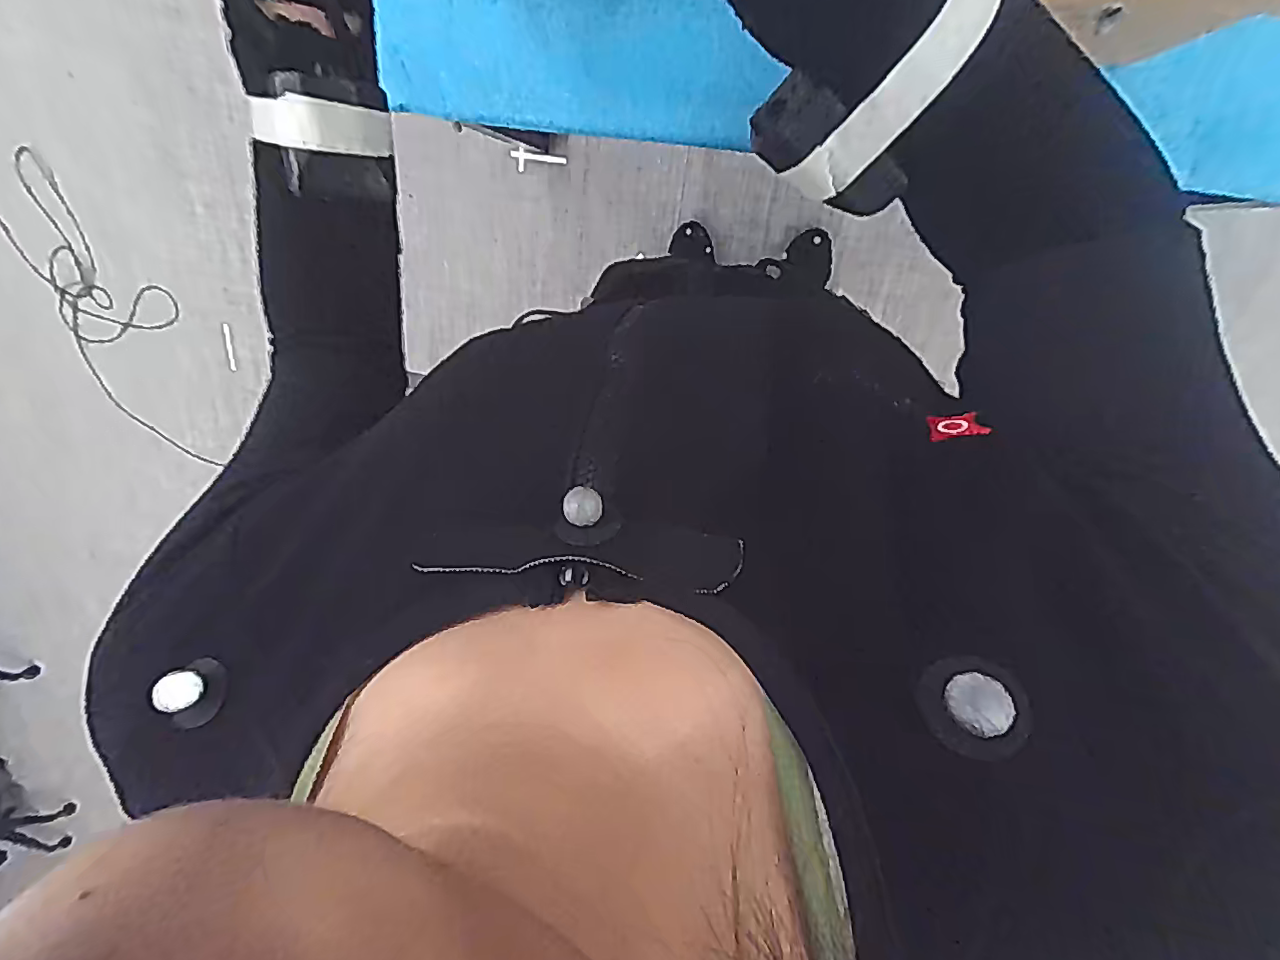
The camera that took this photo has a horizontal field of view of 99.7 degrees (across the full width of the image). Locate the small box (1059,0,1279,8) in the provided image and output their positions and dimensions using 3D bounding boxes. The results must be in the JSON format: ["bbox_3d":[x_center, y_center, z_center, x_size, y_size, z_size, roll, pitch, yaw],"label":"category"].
[{"bbox_3d":[0.346,-0.358,0.258,0.179,0.176,0.168,6,116,6],"label":"small box"}]
